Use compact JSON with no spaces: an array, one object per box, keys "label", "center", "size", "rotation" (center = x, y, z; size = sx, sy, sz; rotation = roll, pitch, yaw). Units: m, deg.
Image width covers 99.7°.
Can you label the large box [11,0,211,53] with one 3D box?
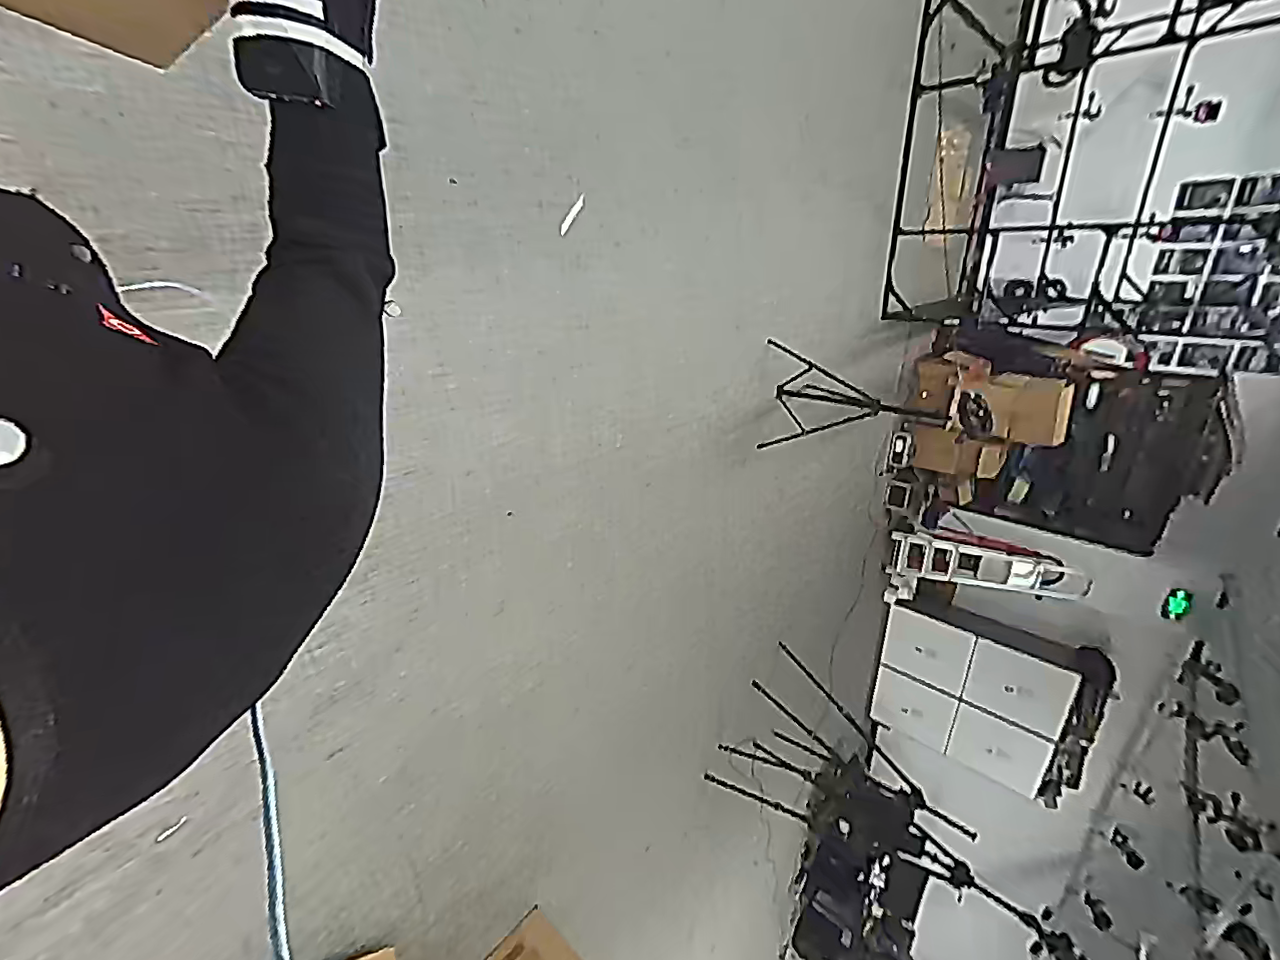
[{"label":"large box","center":[-0.450,-0.493,0.241],"size":[0.408,0.320,0.320],"rotation":[-8,111,-51]}]
